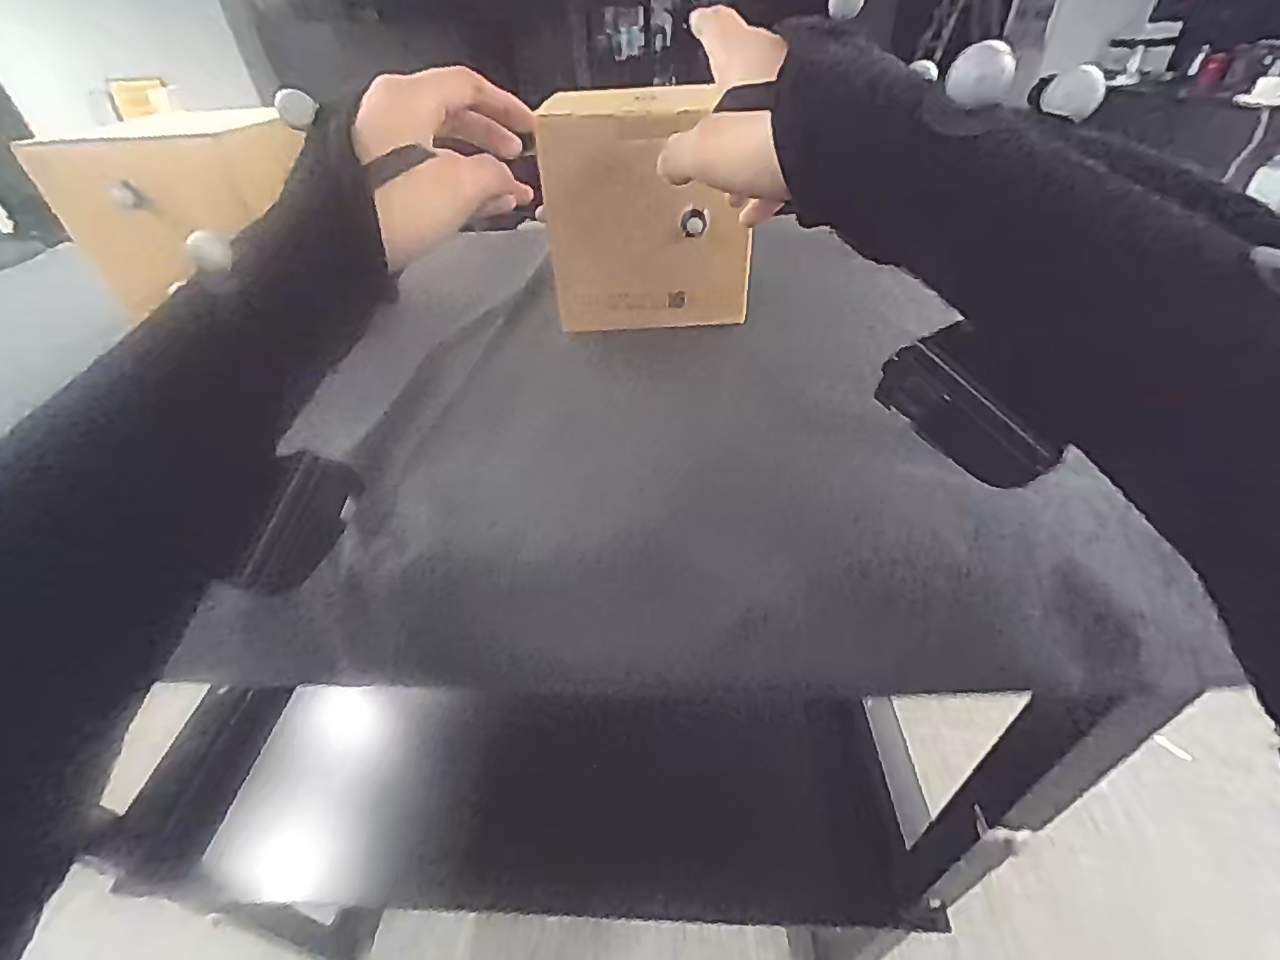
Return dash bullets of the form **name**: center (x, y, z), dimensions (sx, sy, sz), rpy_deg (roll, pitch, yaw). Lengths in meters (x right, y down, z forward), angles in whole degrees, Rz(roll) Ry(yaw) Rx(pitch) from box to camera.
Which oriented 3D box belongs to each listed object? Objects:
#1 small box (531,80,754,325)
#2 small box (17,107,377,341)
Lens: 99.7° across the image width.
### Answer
- **small box**: center (0.007, -0.253, 0.500), dimensions (0.168, 0.176, 0.179), rpy_deg (-1, 41, 2)
- **small box**: center (-0.393, -0.247, 0.527), dimensions (0.179, 0.176, 0.168), rpy_deg (-1, 41, 5)
